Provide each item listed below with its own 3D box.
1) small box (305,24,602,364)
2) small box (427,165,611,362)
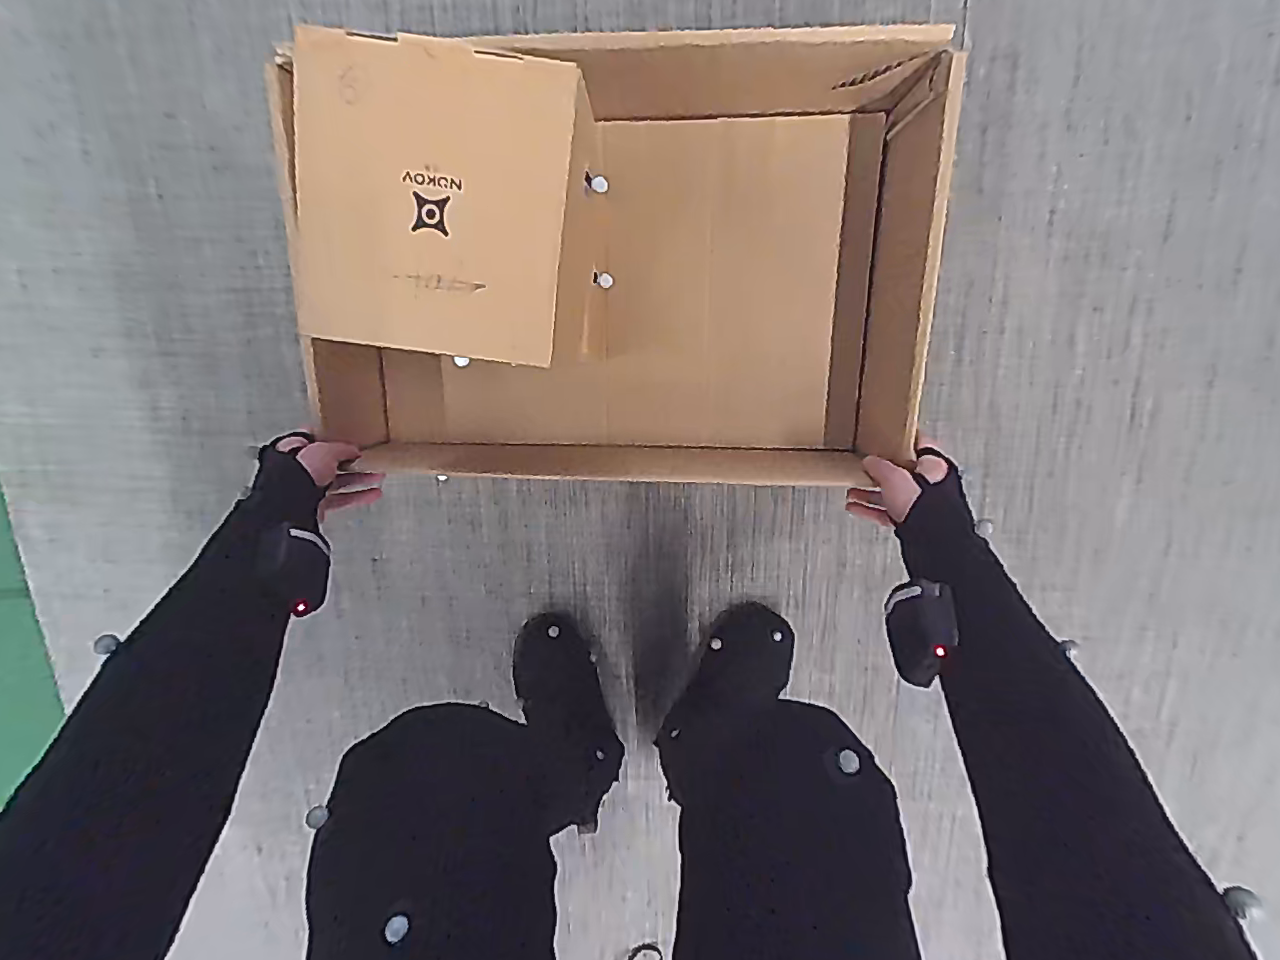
[{"bbox_3d":[-0.123,-0.189,0.412,0.168,0.176,0.179,8,104,-1],"label":"small box"},{"bbox_3d":[-0.120,-0.222,0.572,0.168,0.176,0.179,4,105,-1],"label":"small box"}]
